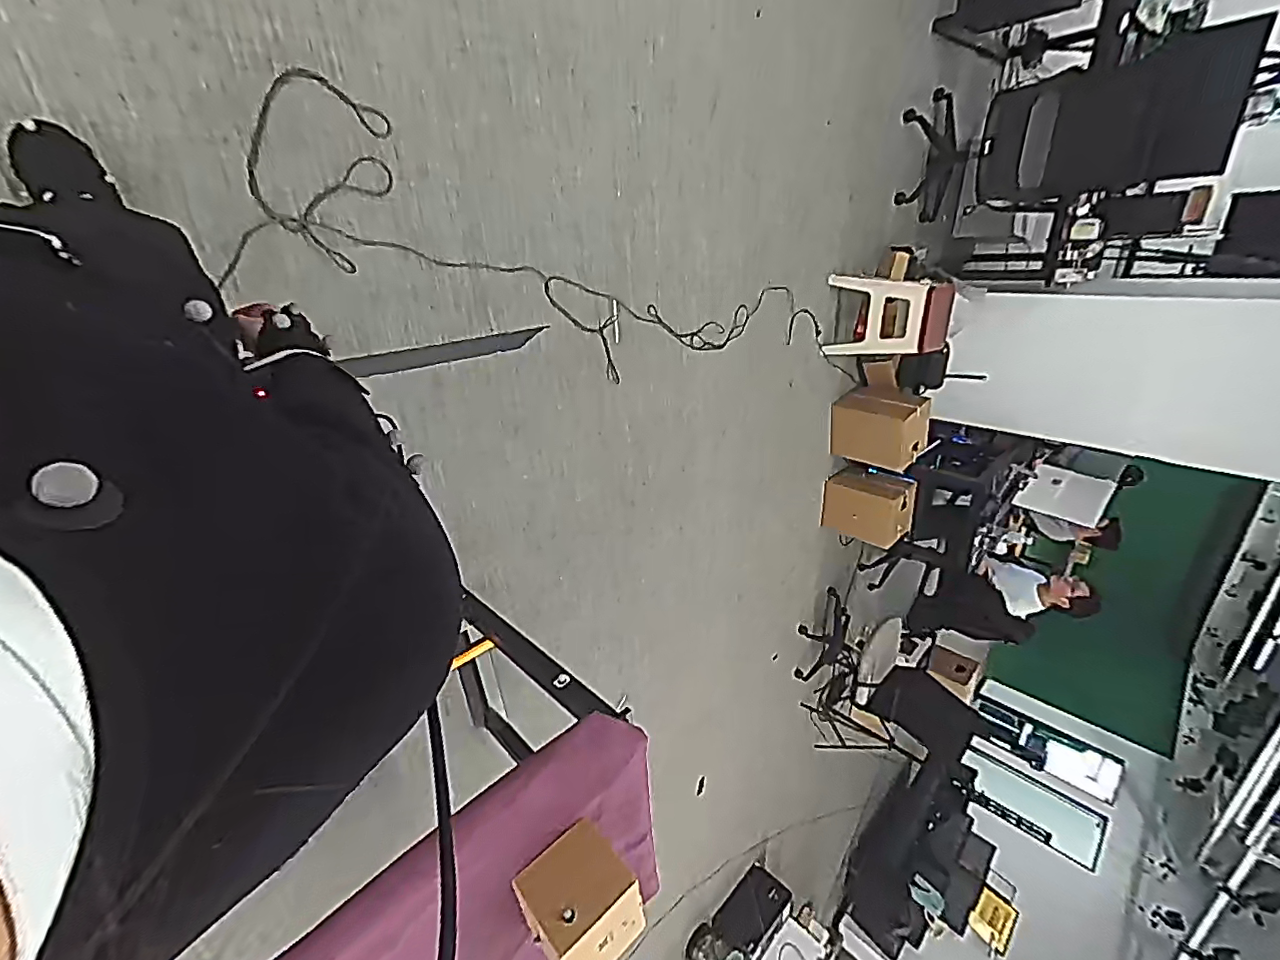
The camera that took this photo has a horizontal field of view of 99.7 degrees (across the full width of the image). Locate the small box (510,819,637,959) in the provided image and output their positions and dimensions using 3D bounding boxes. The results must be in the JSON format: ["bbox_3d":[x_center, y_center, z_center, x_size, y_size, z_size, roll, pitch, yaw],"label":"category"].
[{"bbox_3d":[-0.131,0.808,1.032,0.179,0.176,0.168,-26,123,-35],"label":"small box"}]
